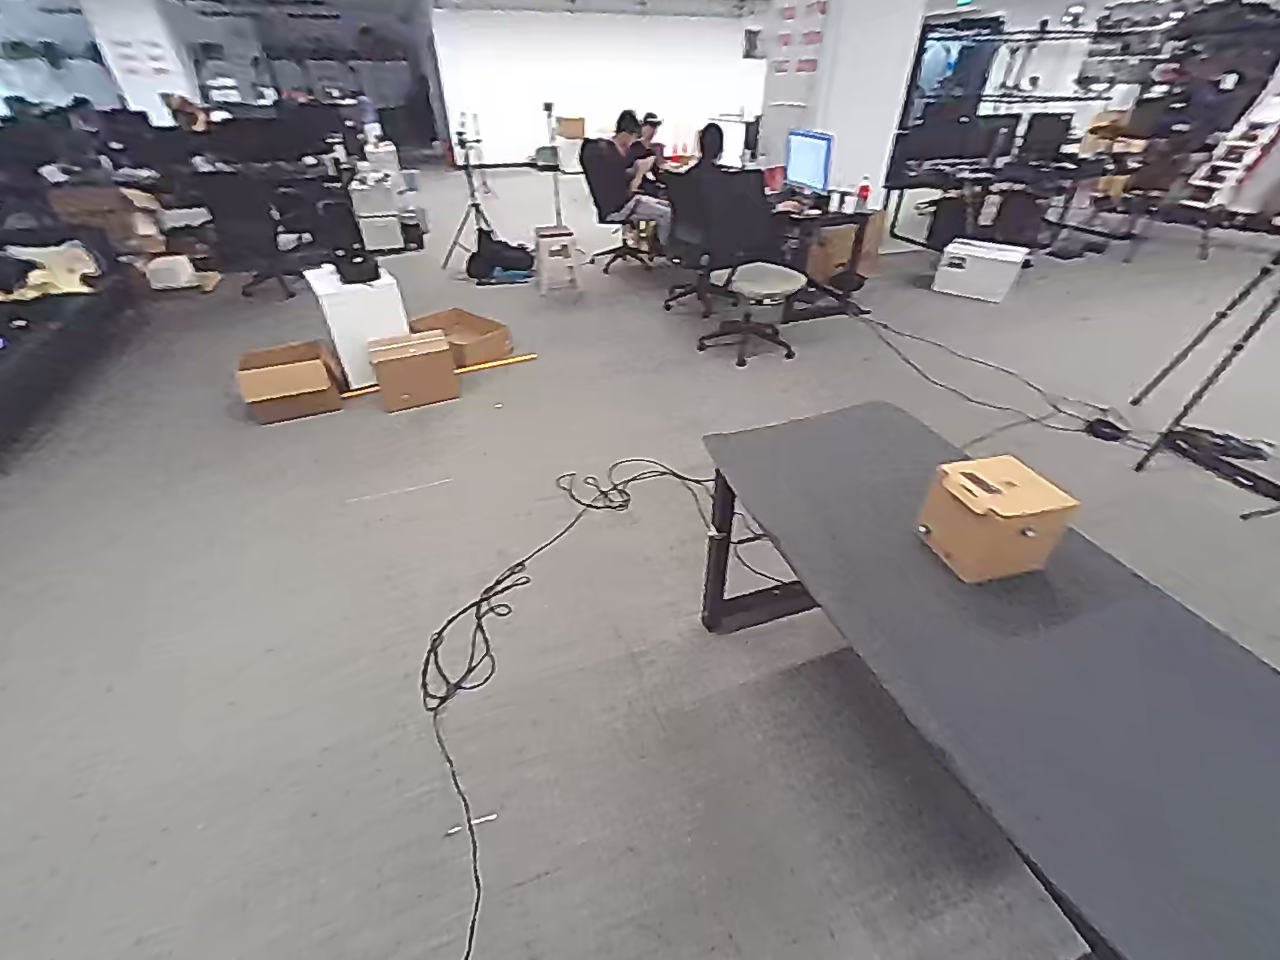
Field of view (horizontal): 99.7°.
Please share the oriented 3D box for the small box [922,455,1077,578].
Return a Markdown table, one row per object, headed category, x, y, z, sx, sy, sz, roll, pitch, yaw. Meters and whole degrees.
| category | x | y | z | sx | sy | sz | roll | pitch | yaw |
| --- | --- | --- | --- | --- | --- | --- | --- | --- | --- |
| small box | 0.689 | 0.074 | 1.067 | 0.179 | 0.176 | 0.168 | -8 | 38 | -12 |
